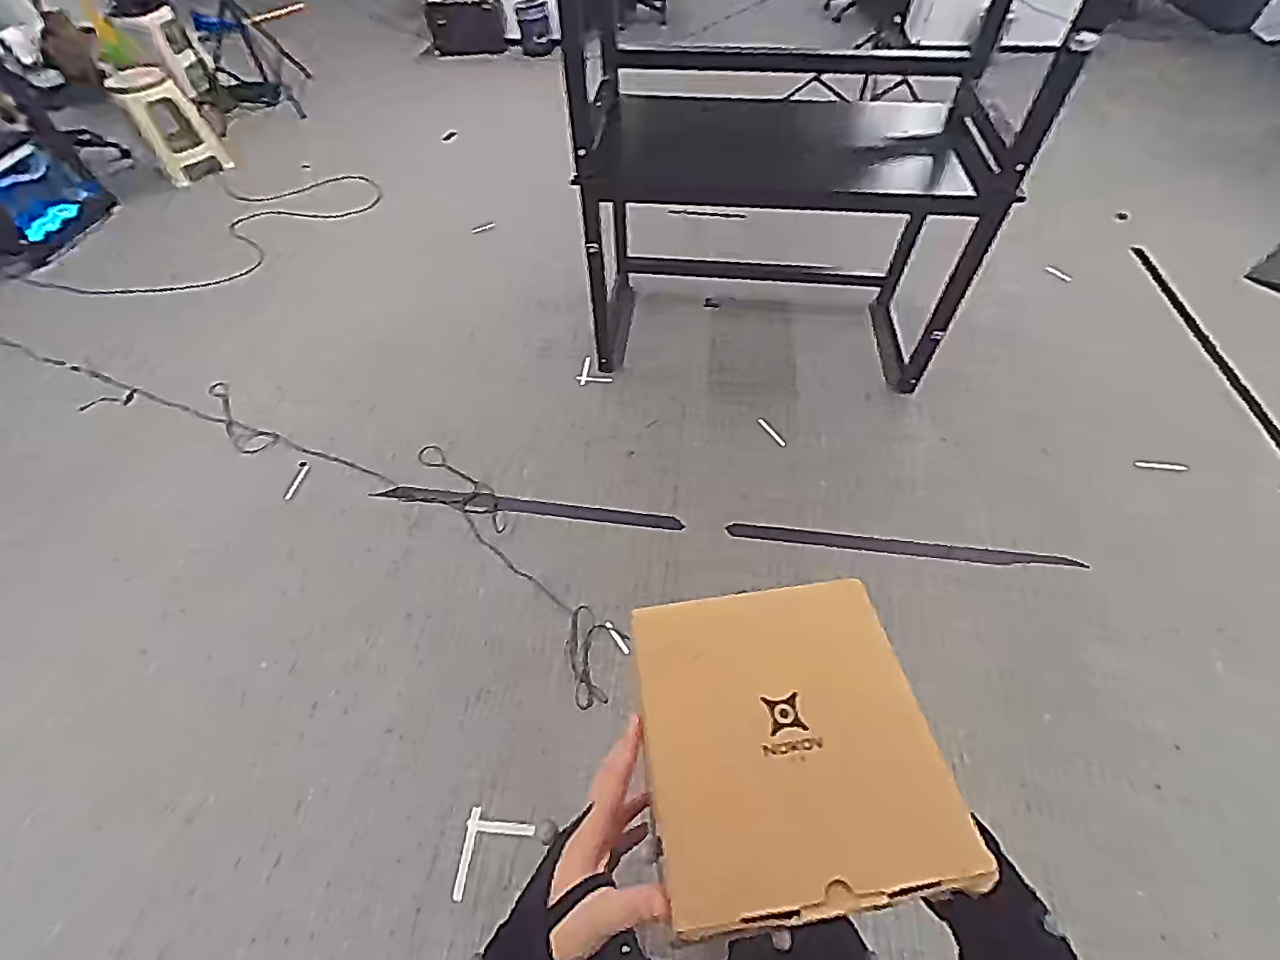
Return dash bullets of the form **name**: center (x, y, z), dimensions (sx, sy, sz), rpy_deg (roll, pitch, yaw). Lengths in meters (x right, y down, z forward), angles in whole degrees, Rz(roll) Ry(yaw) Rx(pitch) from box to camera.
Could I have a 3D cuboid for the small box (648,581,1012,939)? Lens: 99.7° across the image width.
- **small box**: center (0.096, 0.195, 0.379), dimensions (0.168, 0.176, 0.179), rpy_deg (-6, 49, -4)
